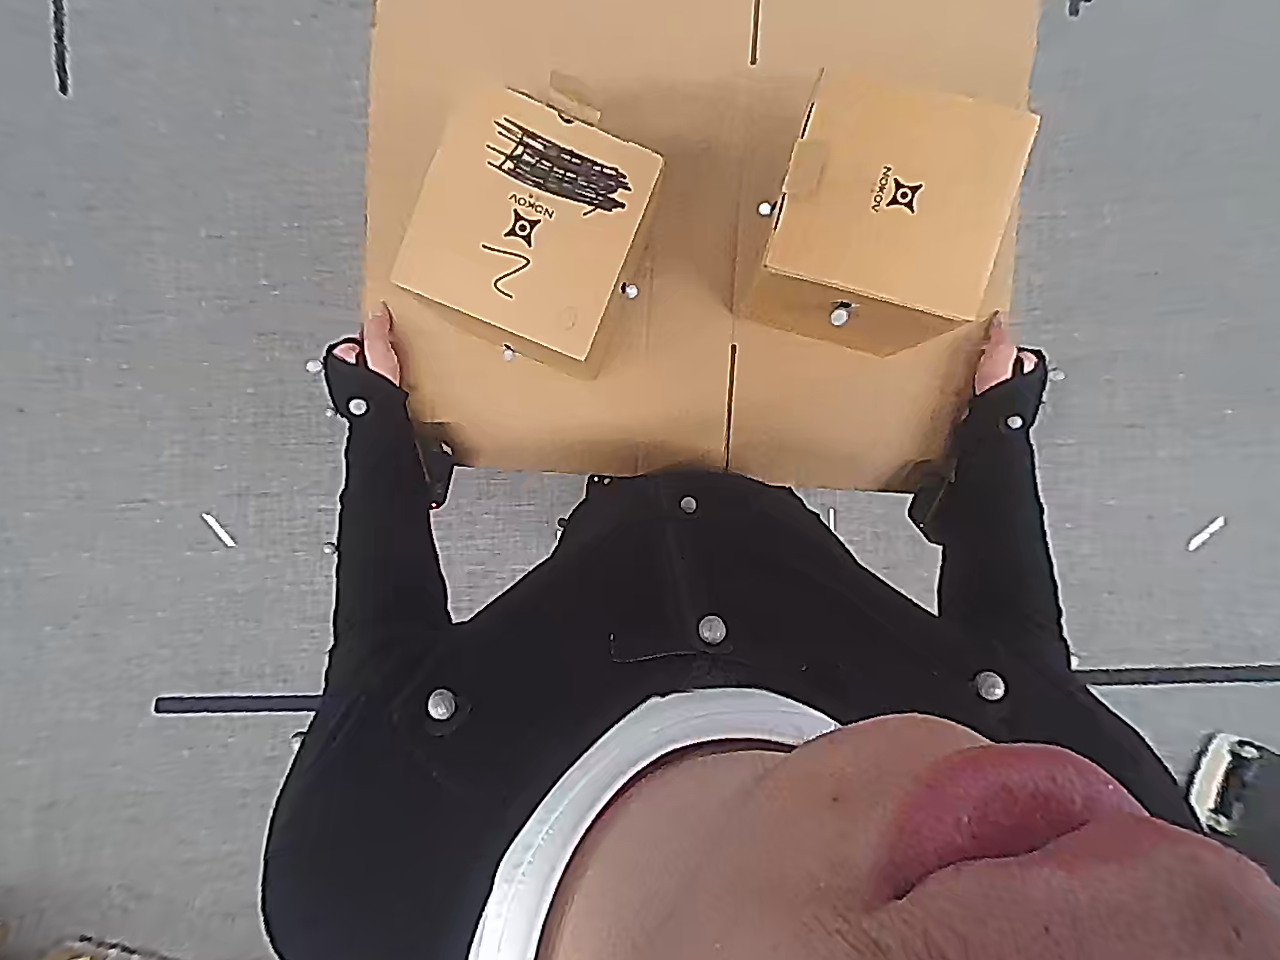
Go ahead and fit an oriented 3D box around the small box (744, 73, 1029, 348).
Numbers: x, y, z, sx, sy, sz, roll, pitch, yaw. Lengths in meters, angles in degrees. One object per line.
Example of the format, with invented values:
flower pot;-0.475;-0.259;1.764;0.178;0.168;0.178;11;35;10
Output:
small box;0.213;-0.235;0.521;0.179;0.176;0.168;16;94;4
